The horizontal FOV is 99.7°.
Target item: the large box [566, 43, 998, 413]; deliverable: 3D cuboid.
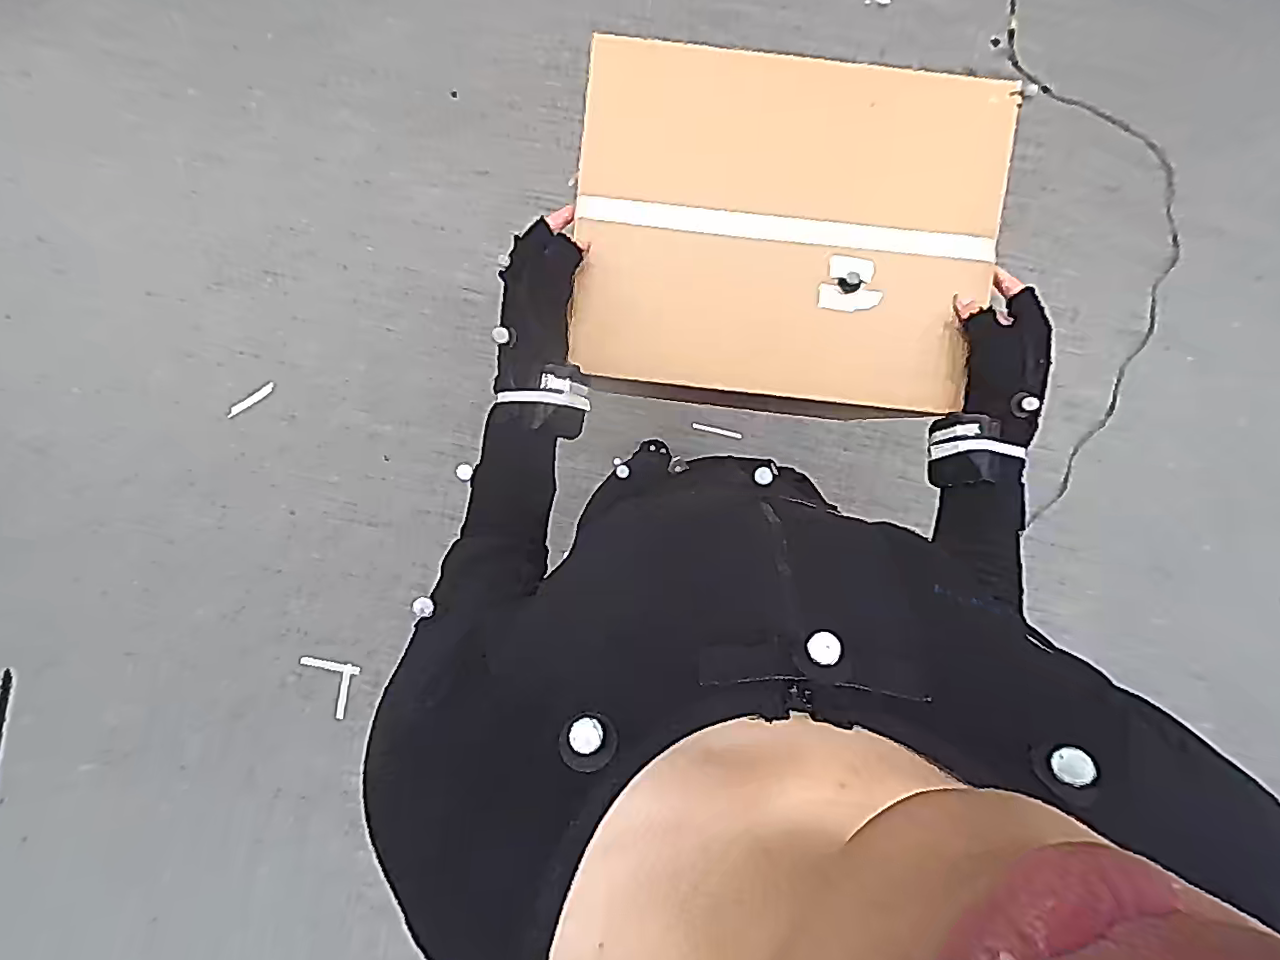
[{"bbox_3d":[0.134,-0.262,0.680,0.408,0.320,0.320,6,95,-1],"label":"large box"}]
